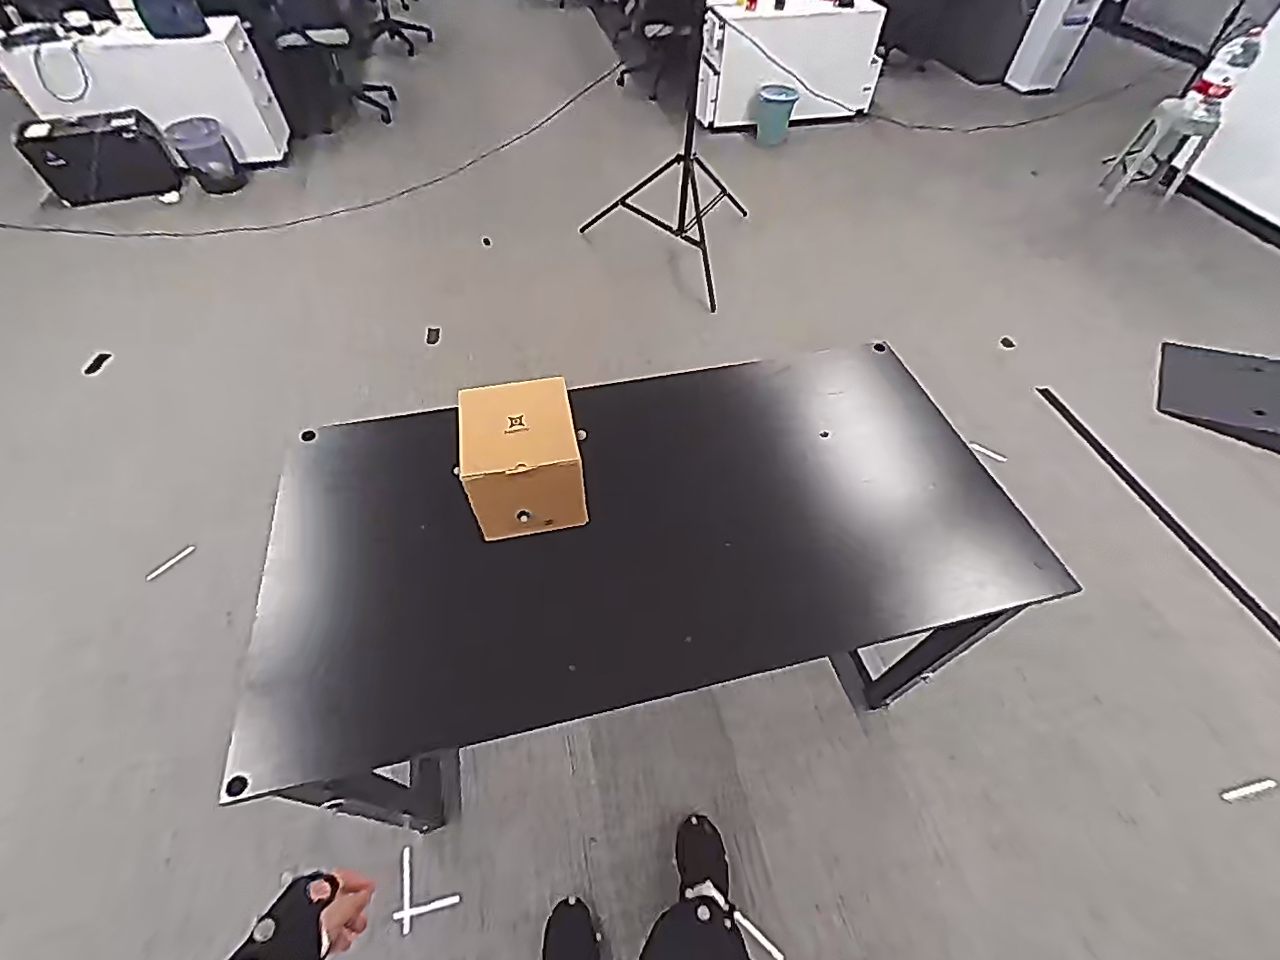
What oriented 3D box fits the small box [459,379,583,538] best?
[{"bbox_3d":[-0.186,-0.033,0.861,0.168,0.176,0.179,-10,54,-8],"label":"small box"}]
